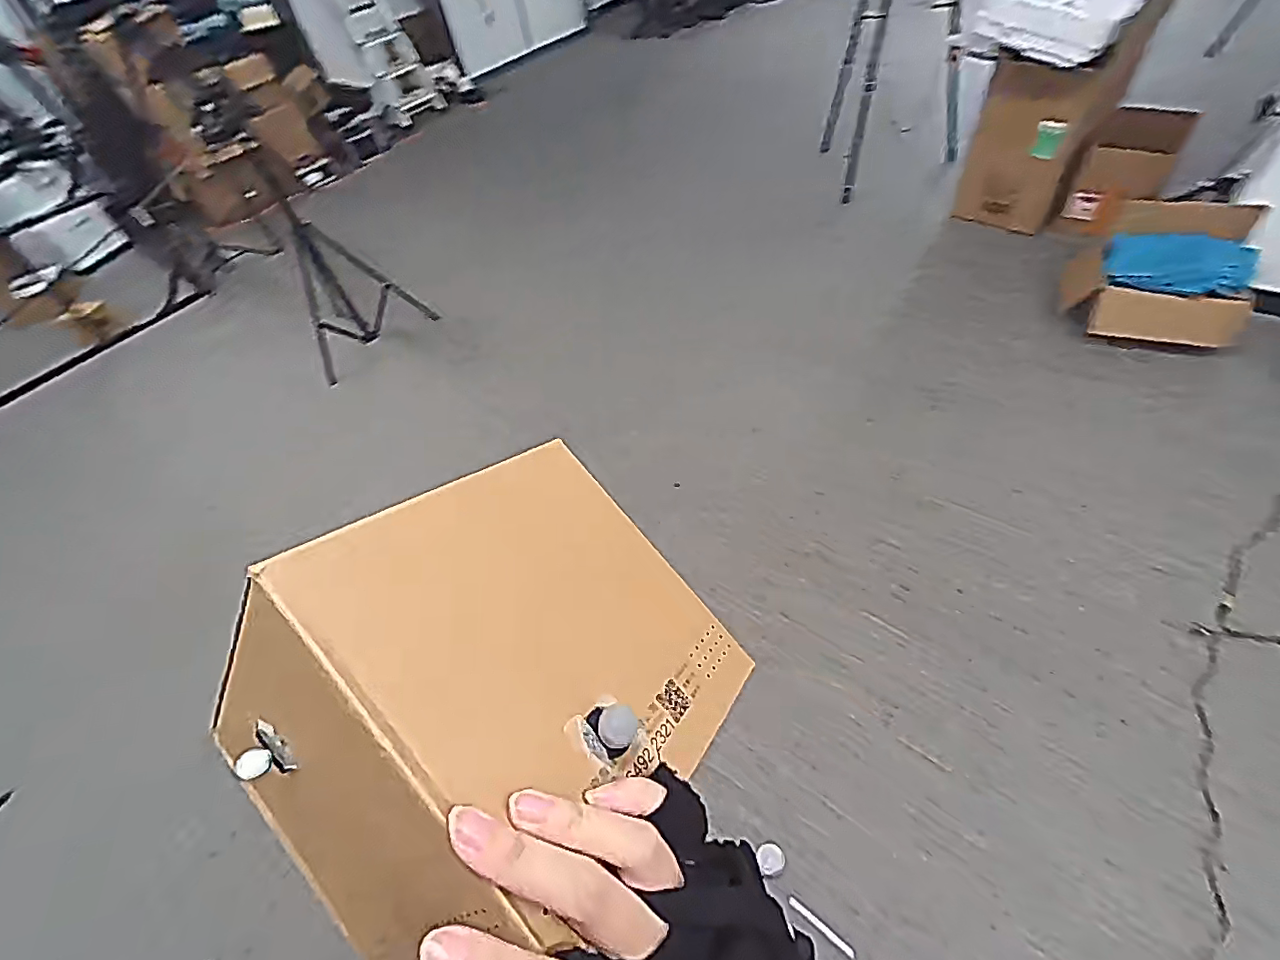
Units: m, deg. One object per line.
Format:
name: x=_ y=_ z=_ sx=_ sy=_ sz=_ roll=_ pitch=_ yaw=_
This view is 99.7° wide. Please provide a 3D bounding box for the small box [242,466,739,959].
small box: x=-0.080 y=0.128 z=0.301 sx=0.176 sy=0.179 sz=0.168 roll=47 pitch=36 yaw=7
